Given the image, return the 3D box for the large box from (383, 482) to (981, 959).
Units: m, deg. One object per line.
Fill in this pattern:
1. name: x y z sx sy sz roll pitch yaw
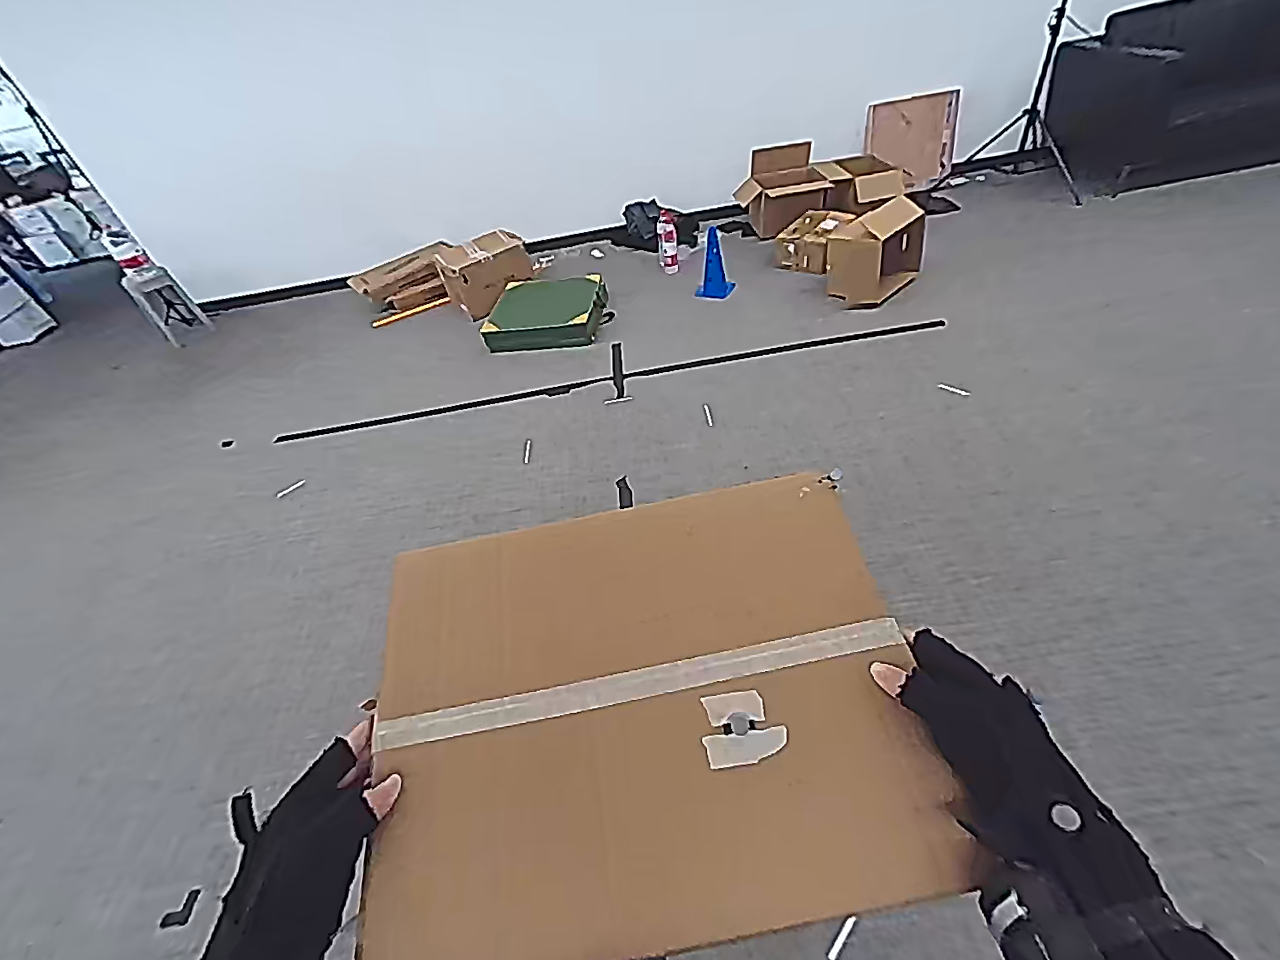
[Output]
1. large box: 0.018 0.248 0.550 0.408 0.320 0.320 -11 56 -1
